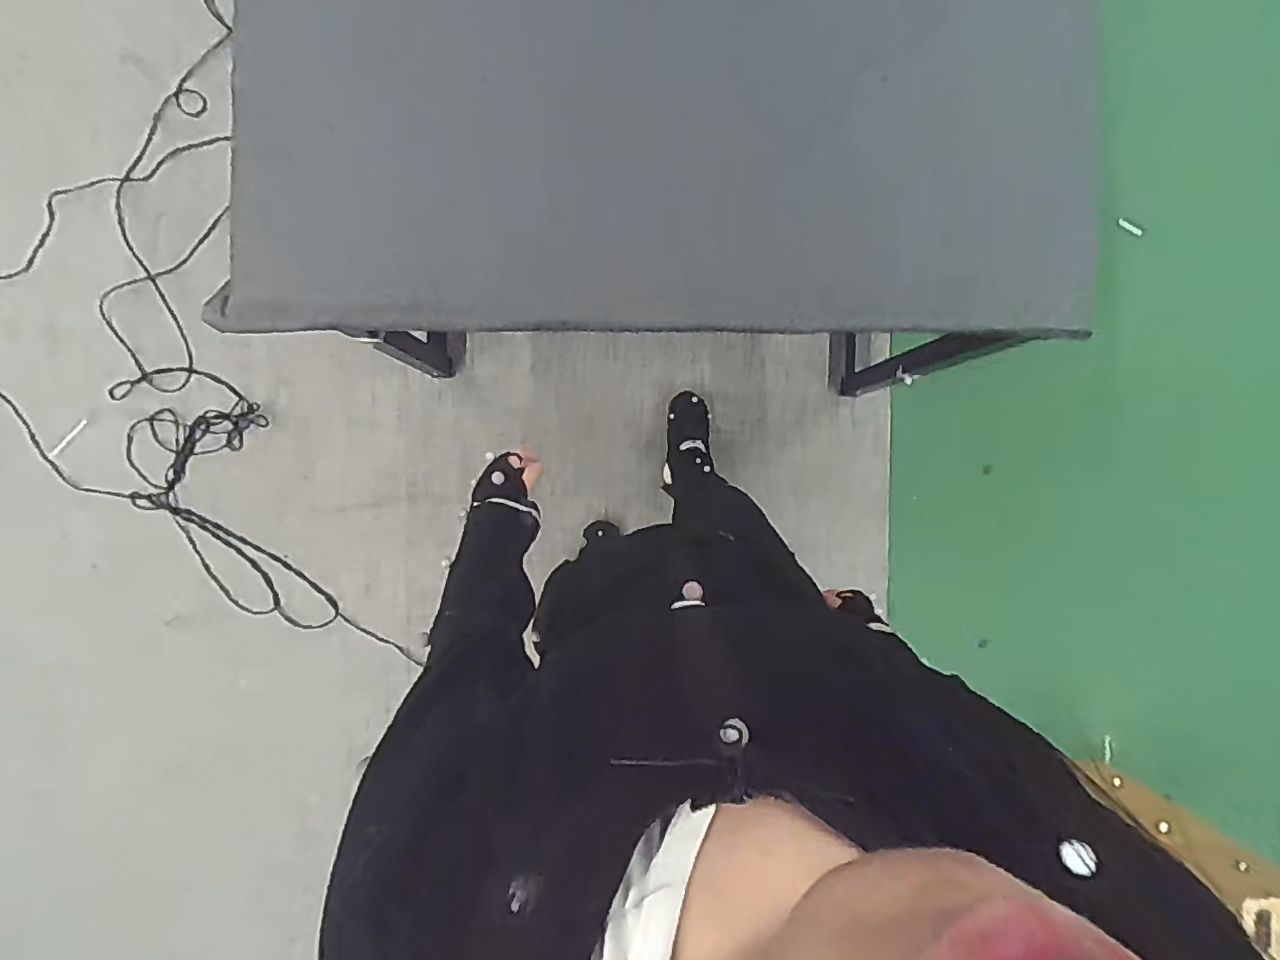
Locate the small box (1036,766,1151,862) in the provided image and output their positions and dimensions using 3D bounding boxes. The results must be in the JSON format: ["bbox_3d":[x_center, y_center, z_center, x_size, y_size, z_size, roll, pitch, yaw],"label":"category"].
[{"bbox_3d":[1.231,0.904,1.475,0.179,0.176,0.168,1,90,-4],"label":"small box"}]

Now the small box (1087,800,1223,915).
[{"bbox_3d":[1.244,0.906,1.314,0.179,0.176,0.168,0,91,-4],"label":"small box"}]
